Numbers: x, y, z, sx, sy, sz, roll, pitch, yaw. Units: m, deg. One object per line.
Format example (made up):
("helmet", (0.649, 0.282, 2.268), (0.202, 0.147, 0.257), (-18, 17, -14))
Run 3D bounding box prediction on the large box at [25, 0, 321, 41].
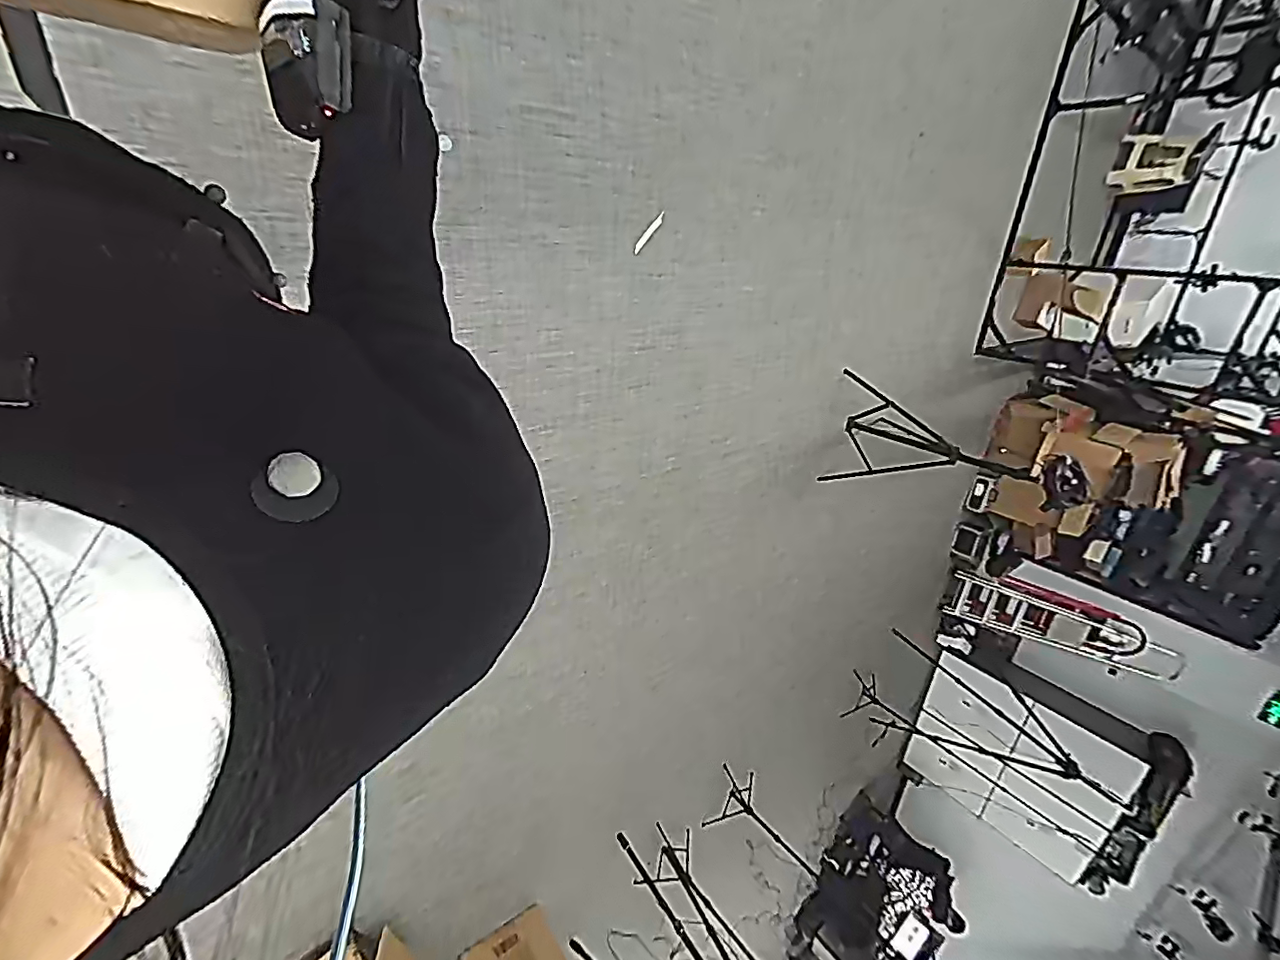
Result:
("large box", (-0.442, -0.457, 0.260), (0.408, 0.320, 0.320), (-18, 131, -39))
